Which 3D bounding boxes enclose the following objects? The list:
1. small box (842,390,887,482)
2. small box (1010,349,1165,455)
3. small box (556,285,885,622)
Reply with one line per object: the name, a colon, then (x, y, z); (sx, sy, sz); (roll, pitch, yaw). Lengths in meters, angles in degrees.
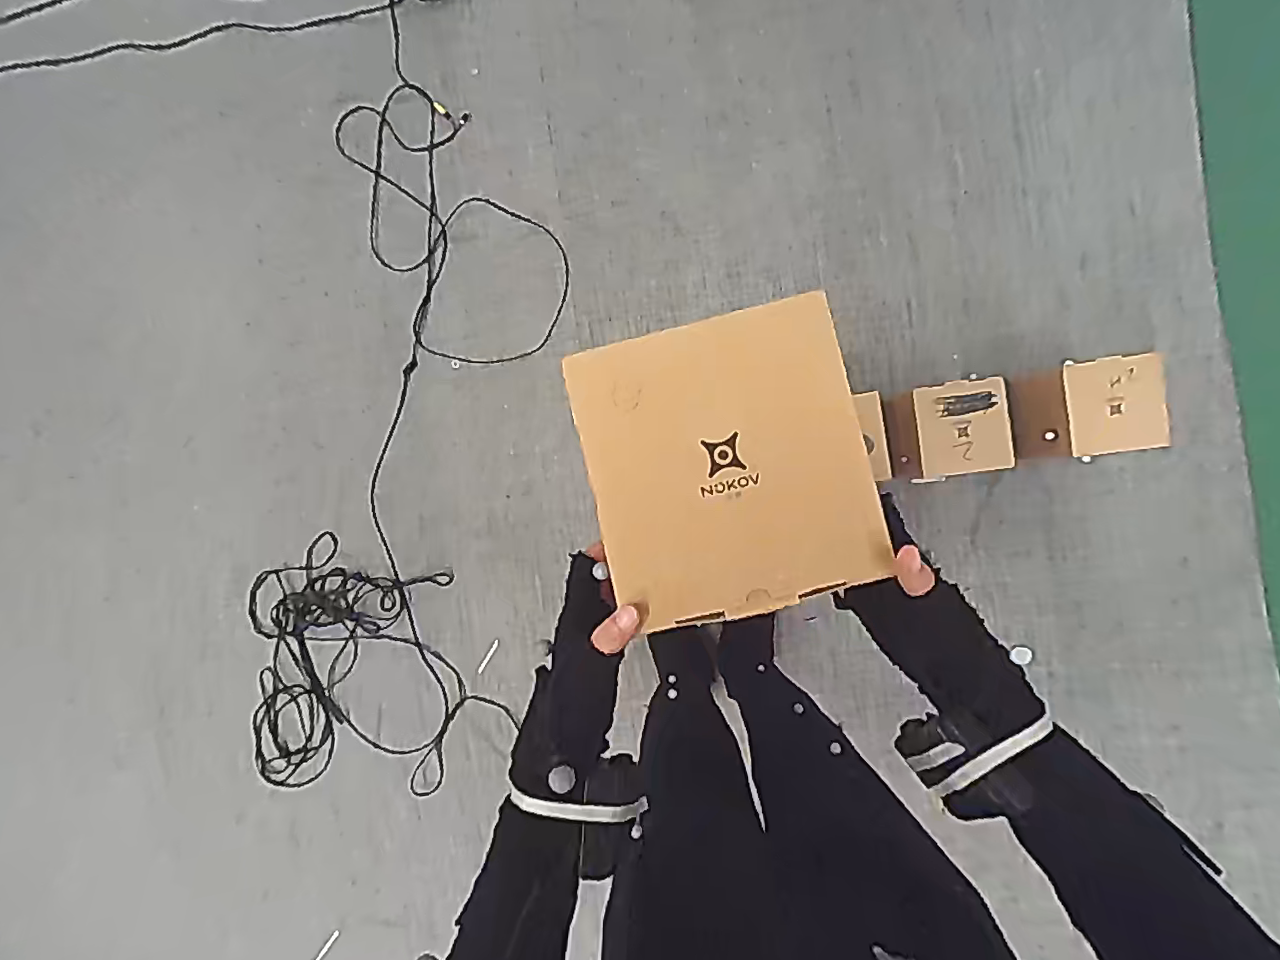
small box: (0.393, -0.078, 1.122); (0.168, 0.176, 0.179); (-9, 88, 8)
small box: (0.865, -0.144, 1.061); (0.168, 0.176, 0.179); (-8, 90, 7)
small box: (0.049, -0.012, 0.404); (0.168, 0.176, 0.179); (-15, 86, 3)
